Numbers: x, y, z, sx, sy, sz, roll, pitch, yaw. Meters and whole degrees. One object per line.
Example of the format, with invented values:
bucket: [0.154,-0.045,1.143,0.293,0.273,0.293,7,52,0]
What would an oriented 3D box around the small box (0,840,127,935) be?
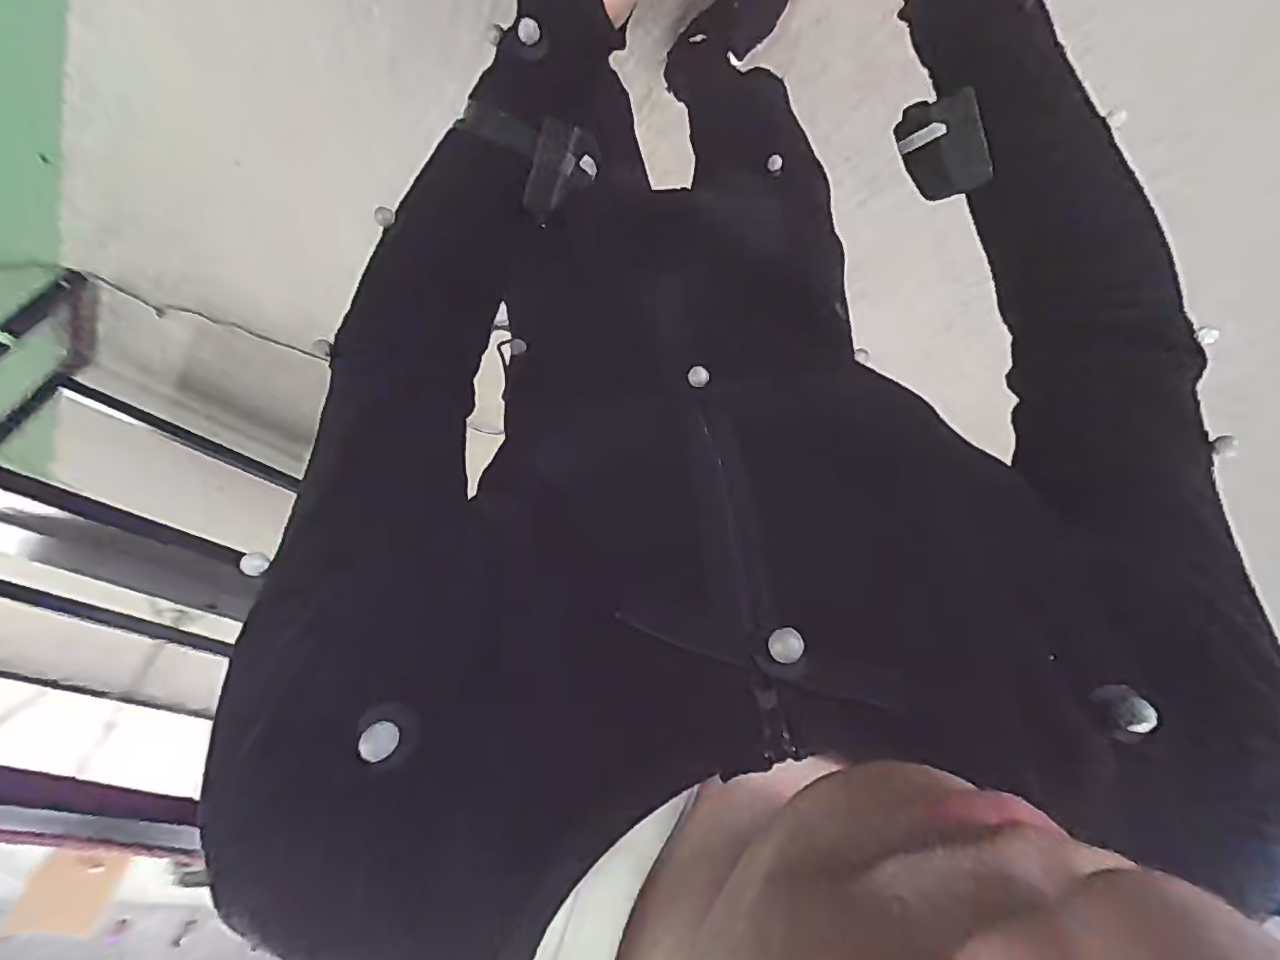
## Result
small box: [-1.422,0.997,1.334,0.179,0.176,0.168,-25,134,37]
